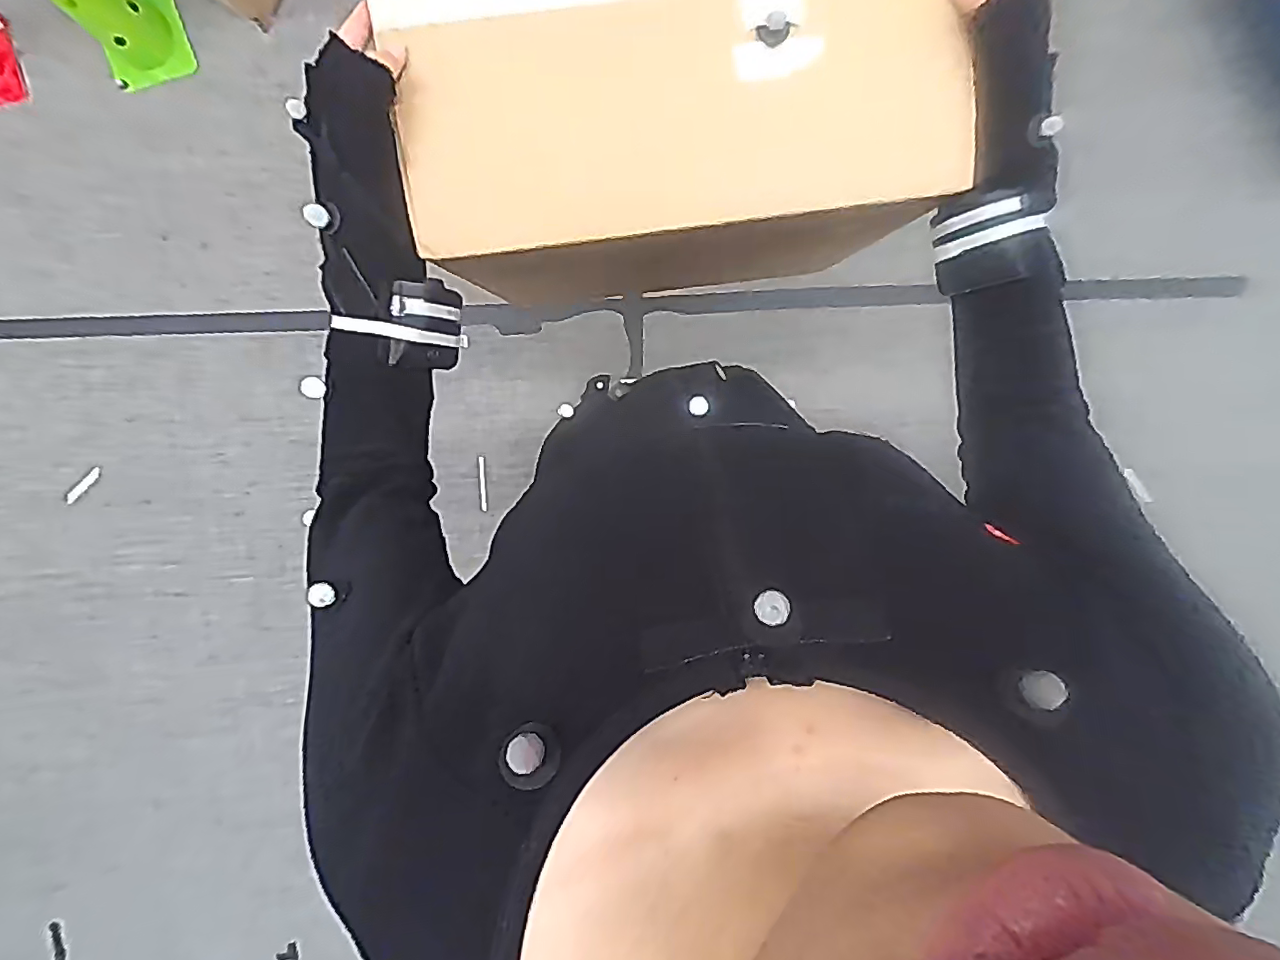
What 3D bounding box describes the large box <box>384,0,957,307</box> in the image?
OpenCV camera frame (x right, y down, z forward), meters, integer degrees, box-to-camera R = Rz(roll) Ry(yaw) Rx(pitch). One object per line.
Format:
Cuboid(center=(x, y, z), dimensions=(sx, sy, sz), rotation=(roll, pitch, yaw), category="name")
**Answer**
Cuboid(center=(0.016, -0.371, 0.522), dimensions=(0.408, 0.320, 0.320), rotation=(-7, 101, 1), category="large box")
